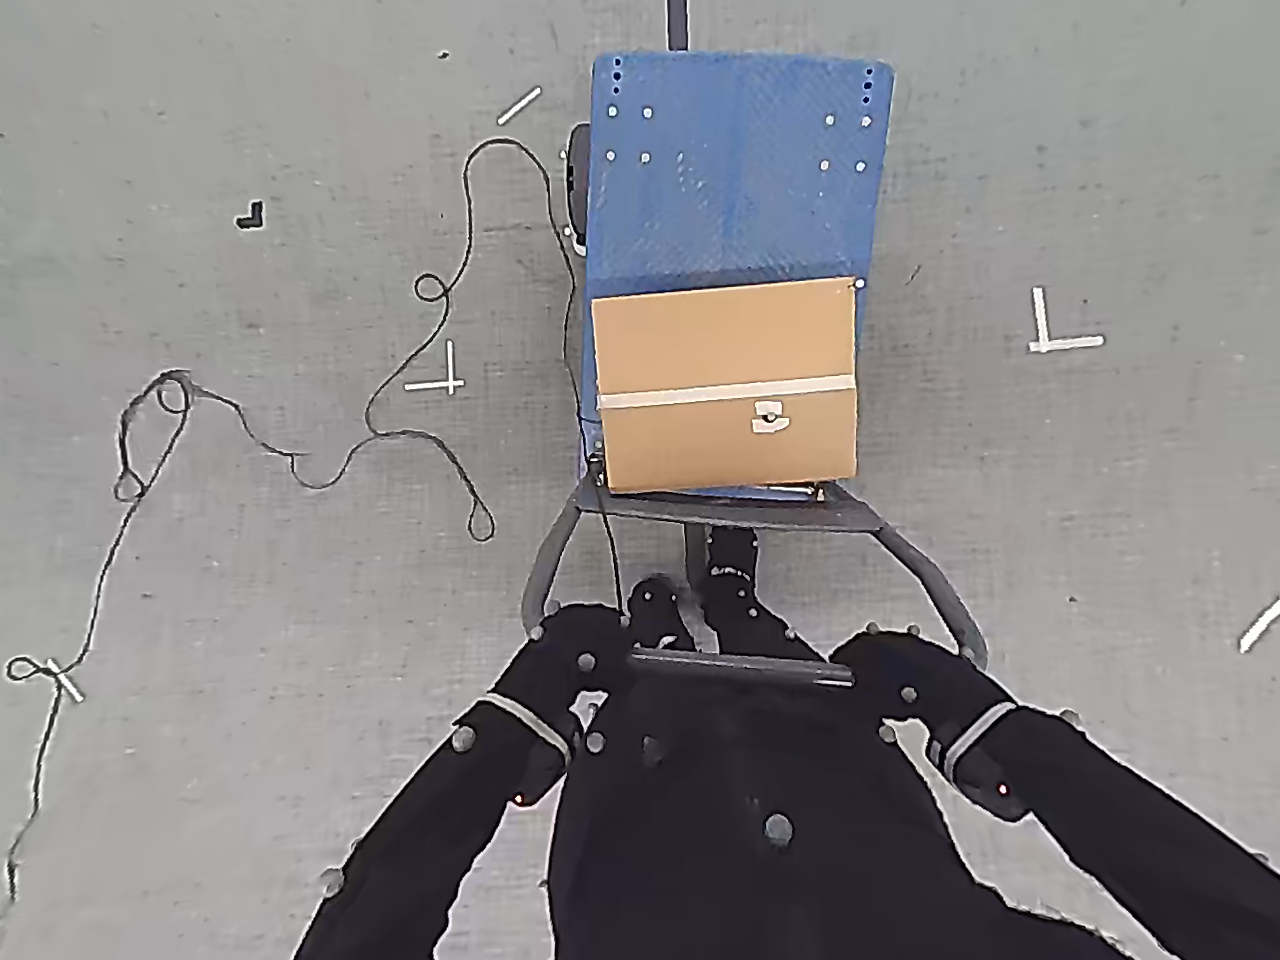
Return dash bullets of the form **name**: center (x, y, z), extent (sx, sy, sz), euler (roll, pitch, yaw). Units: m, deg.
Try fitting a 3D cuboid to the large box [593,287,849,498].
- **large box**: center (0.139, -0.162, 1.024), extent (0.408, 0.320, 0.320), euler (-4, 102, 3)
